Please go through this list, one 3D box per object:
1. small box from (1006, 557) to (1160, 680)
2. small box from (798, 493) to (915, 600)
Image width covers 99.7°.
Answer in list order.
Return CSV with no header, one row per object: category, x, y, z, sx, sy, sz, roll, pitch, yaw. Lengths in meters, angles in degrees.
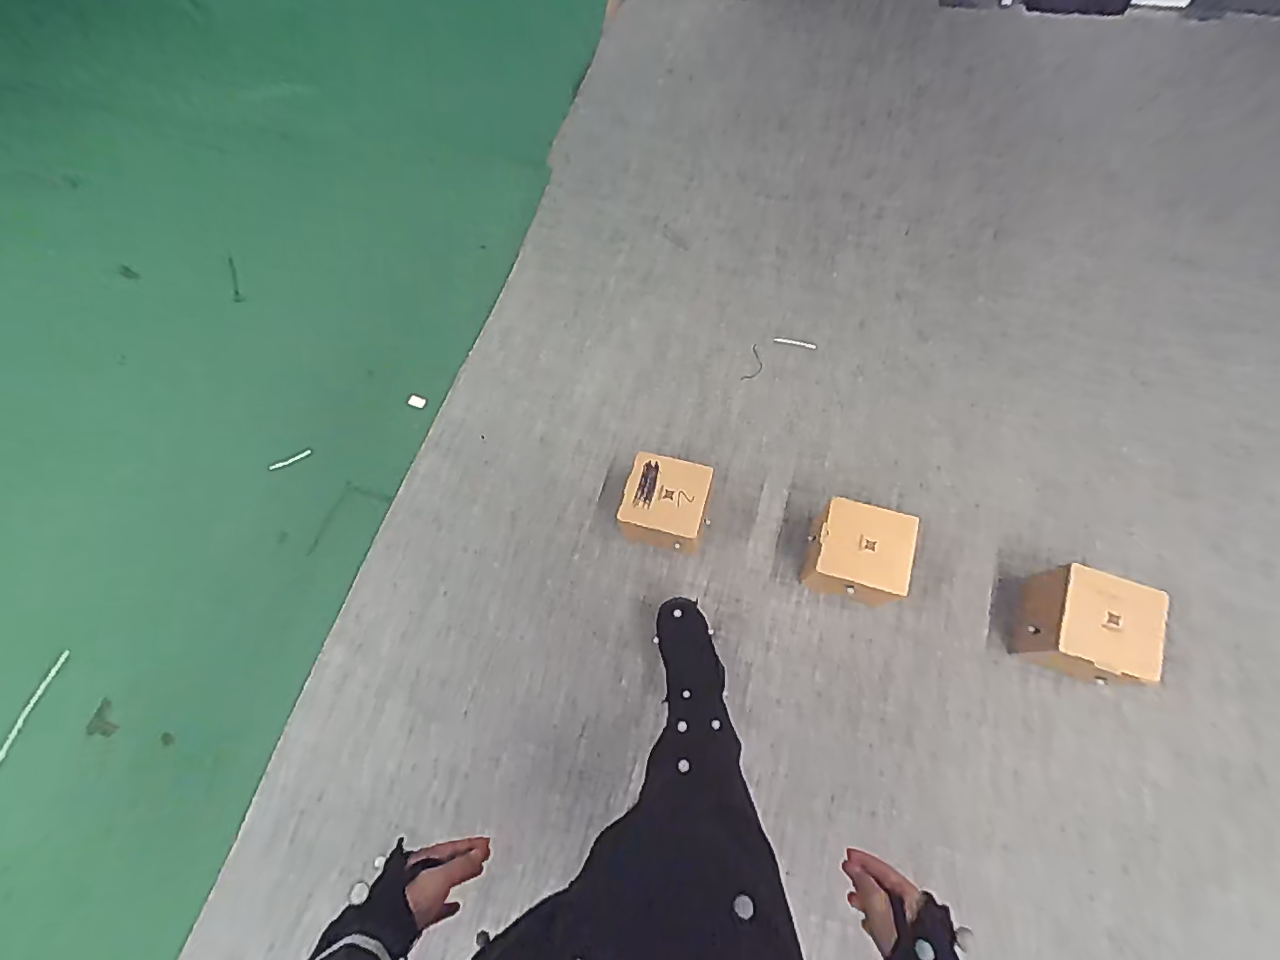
small box,0.852,0.276,1.056,0.168,0.176,0.179,19,72,11
small box,0.451,0.148,1.146,0.179,0.176,0.168,15,72,12
